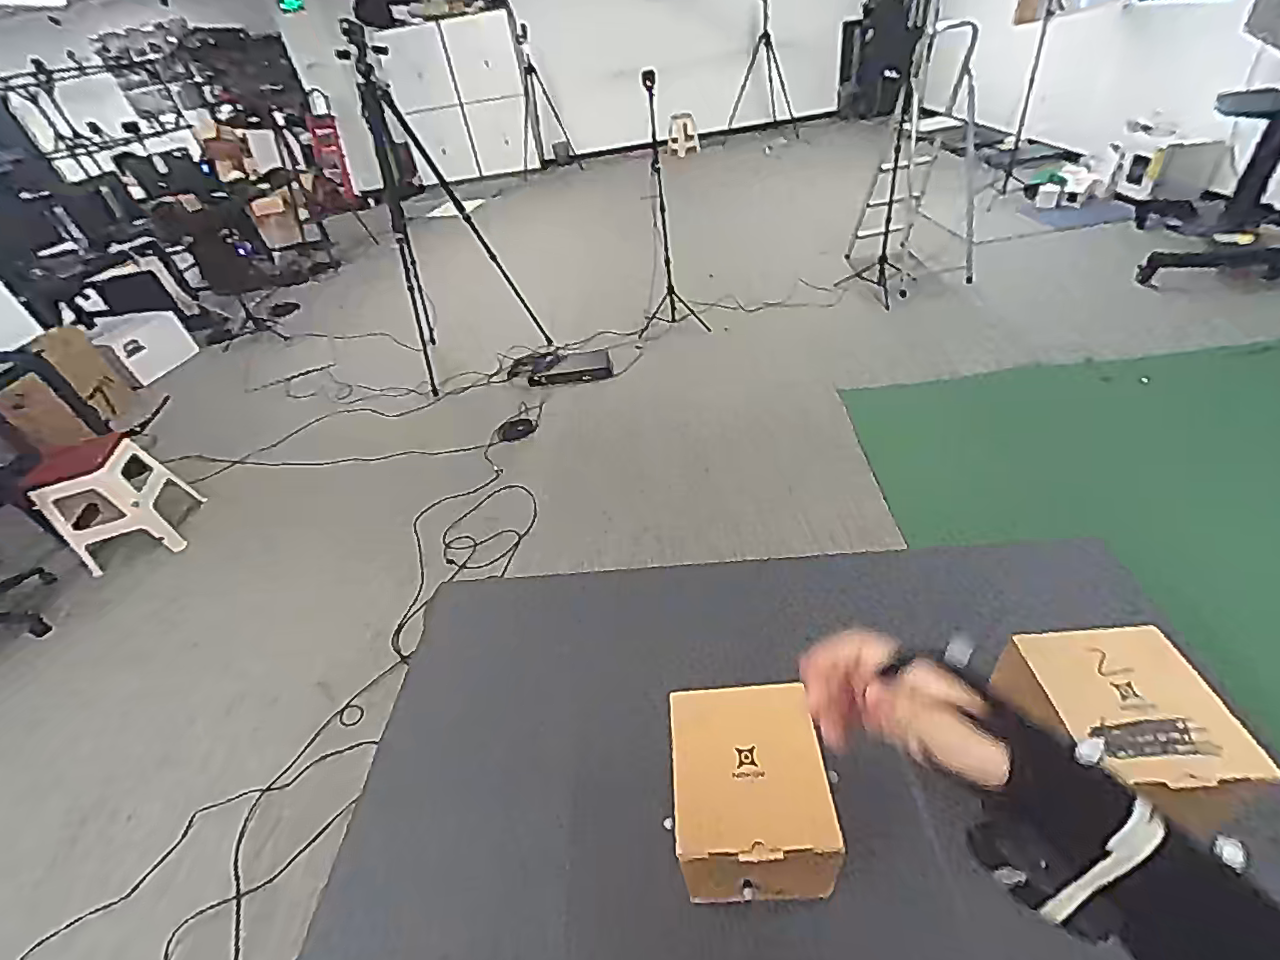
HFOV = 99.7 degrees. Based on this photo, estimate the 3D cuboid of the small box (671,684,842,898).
[{"bbox_3d":[0.126,0.369,0.645,0.168,0.176,0.179,-5,41,4],"label":"small box"}]
